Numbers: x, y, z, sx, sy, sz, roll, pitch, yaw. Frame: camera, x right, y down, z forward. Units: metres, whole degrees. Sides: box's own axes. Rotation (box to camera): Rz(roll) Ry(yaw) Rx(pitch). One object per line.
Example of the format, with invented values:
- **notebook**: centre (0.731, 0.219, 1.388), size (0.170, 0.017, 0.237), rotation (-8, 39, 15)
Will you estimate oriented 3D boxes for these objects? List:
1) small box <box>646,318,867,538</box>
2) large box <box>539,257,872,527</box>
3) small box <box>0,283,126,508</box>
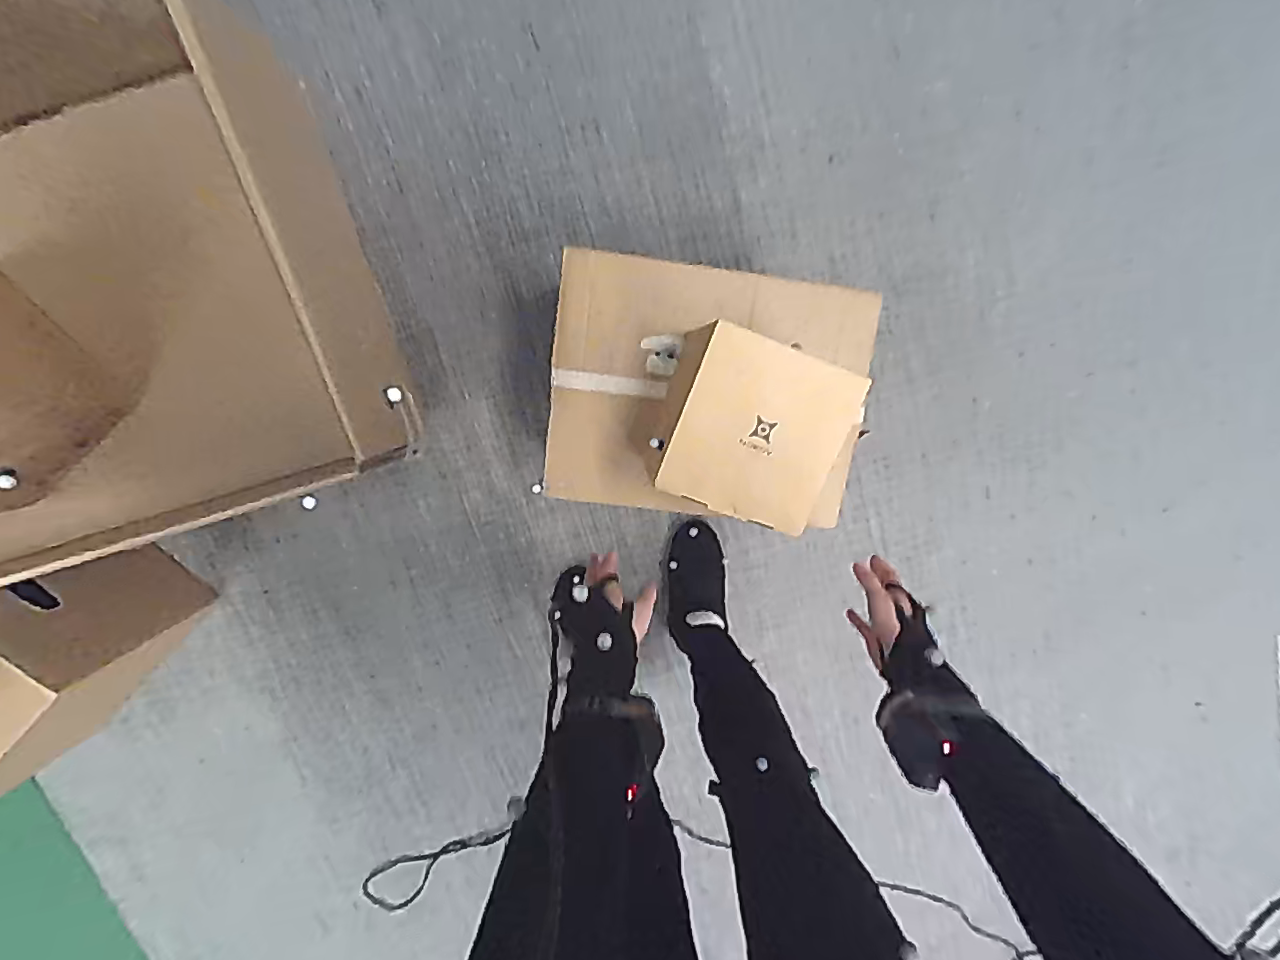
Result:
- **small box**: centre (0.110, -0.063, 0.604), size (0.168, 0.176, 0.179), rotation (19, 101, -7)
- **large box**: centre (0.077, -0.132, 0.838), size (0.408, 0.320, 0.320), rotation (6, 100, -3)
- **small box**: centre (-0.614, -0.070, 0.454), size (0.168, 0.176, 0.179), rotation (-40, 100, 4)
